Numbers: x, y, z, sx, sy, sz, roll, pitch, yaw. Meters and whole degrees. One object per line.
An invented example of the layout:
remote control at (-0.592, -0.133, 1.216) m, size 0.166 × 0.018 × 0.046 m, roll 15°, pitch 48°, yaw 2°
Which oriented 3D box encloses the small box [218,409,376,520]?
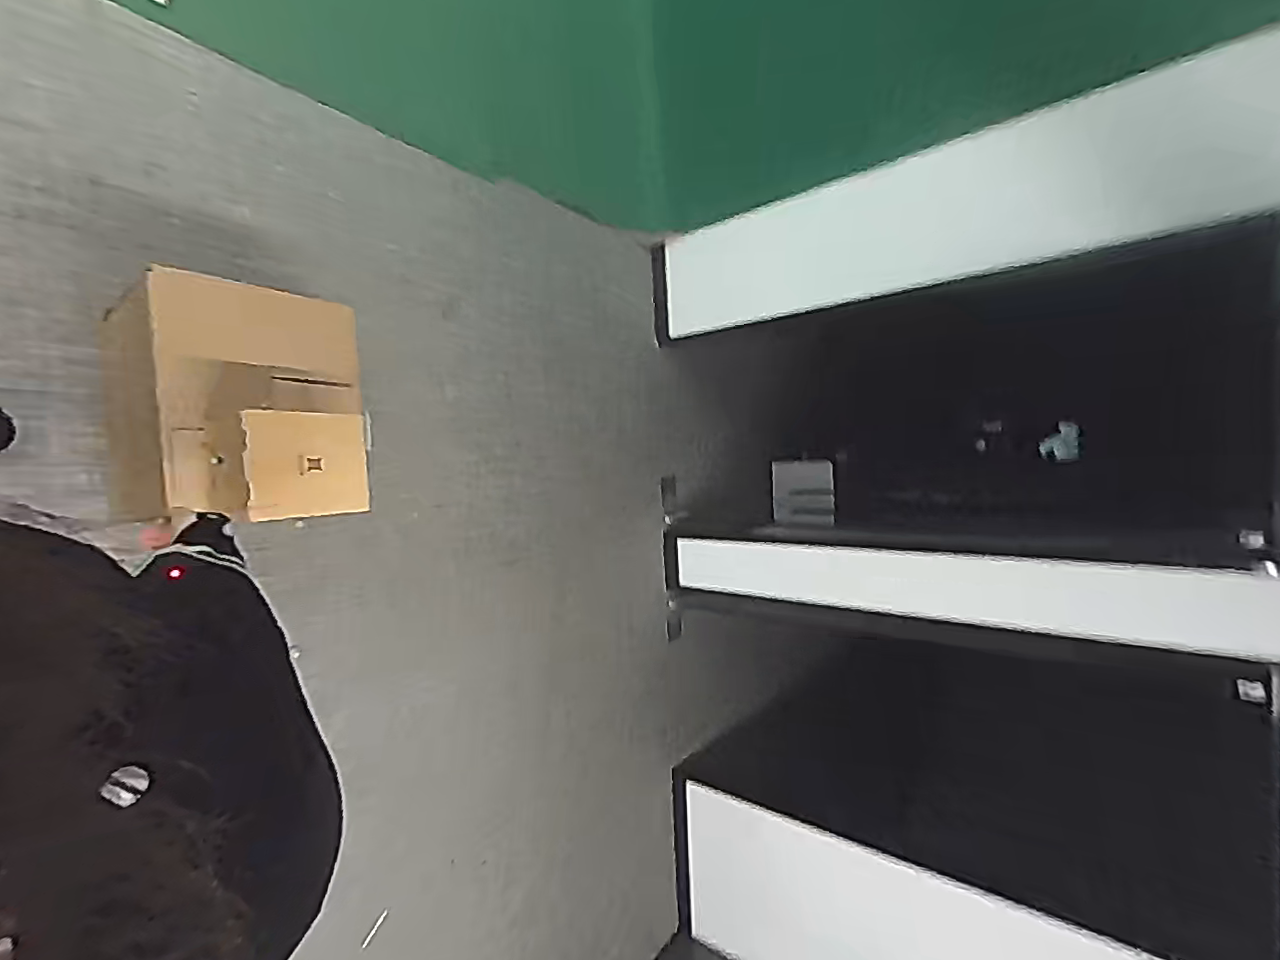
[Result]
small box at (-0.571, -0.026, 0.904) m, size 0.179 × 0.176 × 0.168 m, roll -5°, pitch 92°, yaw -52°
